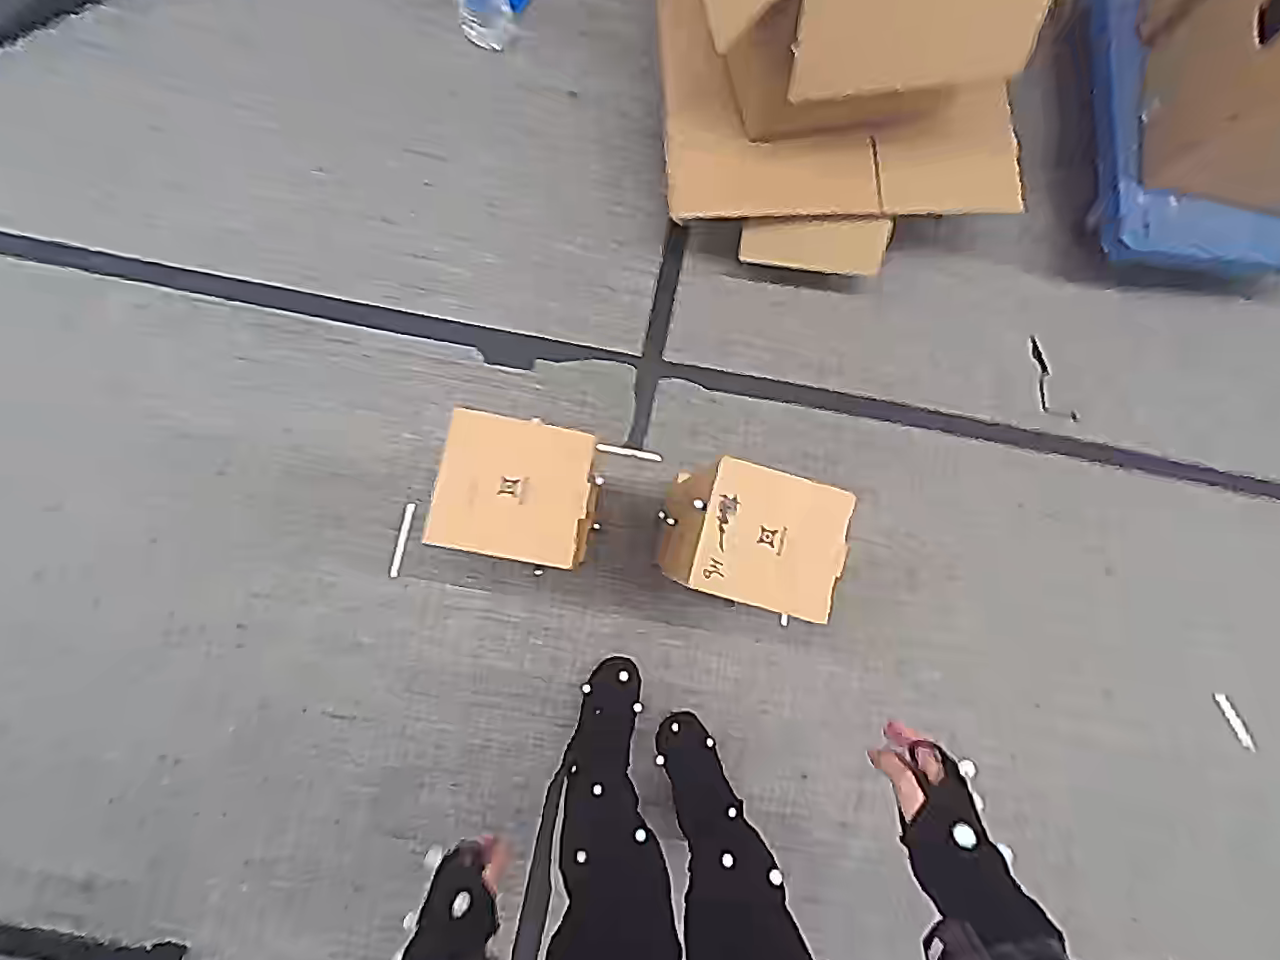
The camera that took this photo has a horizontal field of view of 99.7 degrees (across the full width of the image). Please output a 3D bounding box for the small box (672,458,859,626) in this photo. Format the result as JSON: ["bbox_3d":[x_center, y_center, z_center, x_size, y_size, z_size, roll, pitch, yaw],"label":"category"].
[{"bbox_3d":[0.156,0.080,0.725,0.179,0.176,0.168,17,83,-4],"label":"small box"}]

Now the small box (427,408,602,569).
[{"bbox_3d":[-0.150,0.019,0.711,0.179,0.176,0.168,11,81,-3],"label":"small box"}]

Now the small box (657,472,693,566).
[{"bbox_3d":[0.131,0.093,1.053,0.168,0.176,0.179,11,83,-4],"label":"small box"}]

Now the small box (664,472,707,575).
[{"bbox_3d":[0.145,0.094,0.888,0.179,0.176,0.168,14,84,-3],"label":"small box"}]

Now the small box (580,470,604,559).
[{"bbox_3d":[-0.171,0.053,1.036,0.179,0.176,0.168,13,83,-4],"label":"small box"}]
